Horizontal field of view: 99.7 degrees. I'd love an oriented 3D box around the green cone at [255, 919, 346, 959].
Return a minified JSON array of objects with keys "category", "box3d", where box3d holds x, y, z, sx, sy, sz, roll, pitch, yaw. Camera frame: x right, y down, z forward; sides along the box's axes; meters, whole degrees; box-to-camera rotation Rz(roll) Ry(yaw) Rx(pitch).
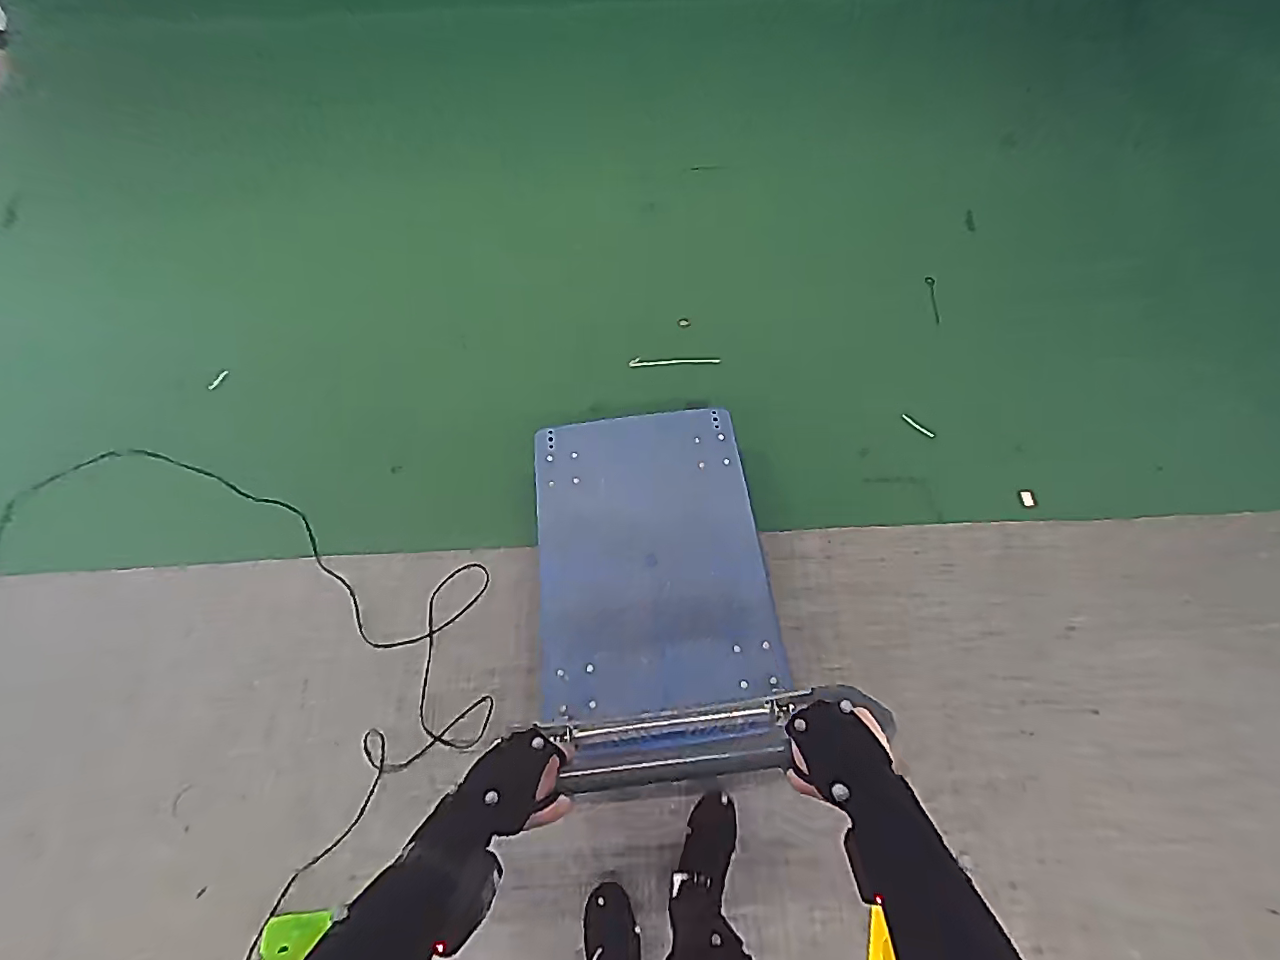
[{"category":"green cone","box3d":[-0.750,1.000,1.011,0.202,0.368,0.200,-7,63,1]}]
